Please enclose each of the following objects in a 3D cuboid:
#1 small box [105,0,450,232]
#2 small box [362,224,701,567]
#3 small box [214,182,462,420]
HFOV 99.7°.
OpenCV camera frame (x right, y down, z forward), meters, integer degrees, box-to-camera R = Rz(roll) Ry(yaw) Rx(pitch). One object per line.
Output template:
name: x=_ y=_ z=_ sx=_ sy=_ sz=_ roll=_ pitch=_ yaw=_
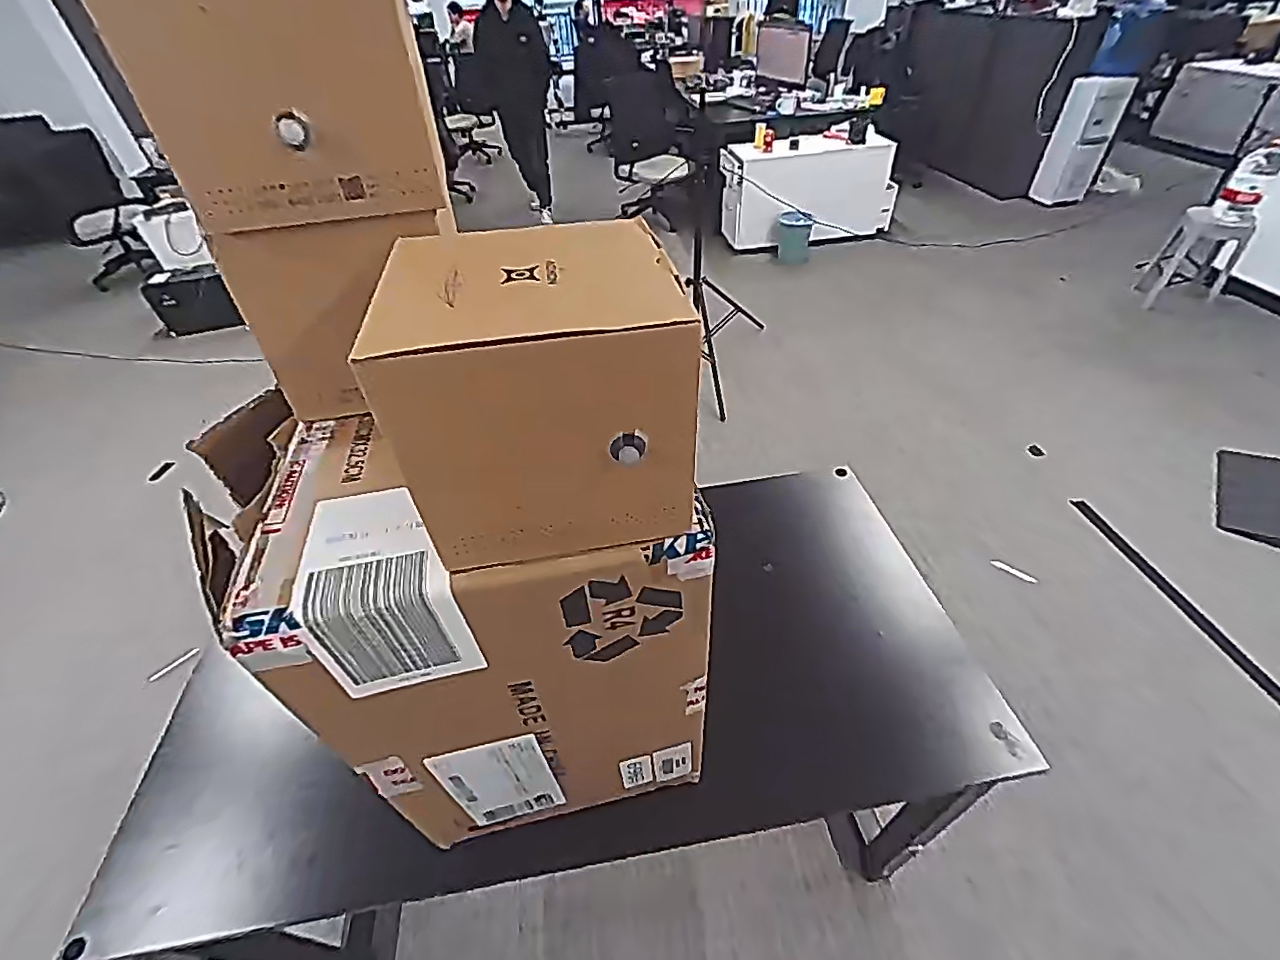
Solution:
small box: x=-0.248 y=-0.301 z=0.406 sx=0.168 sy=0.176 sz=0.179 roll=-13 pitch=42 yaw=-11
small box: x=-0.064 y=-0.061 z=0.386 sx=0.179 sy=0.176 sz=0.168 roll=-10 pitch=43 yaw=-6
small box: x=-0.251 y=-0.181 z=0.521 sx=0.168 sy=0.176 sz=0.179 roll=-11 pitch=43 yaw=-9
